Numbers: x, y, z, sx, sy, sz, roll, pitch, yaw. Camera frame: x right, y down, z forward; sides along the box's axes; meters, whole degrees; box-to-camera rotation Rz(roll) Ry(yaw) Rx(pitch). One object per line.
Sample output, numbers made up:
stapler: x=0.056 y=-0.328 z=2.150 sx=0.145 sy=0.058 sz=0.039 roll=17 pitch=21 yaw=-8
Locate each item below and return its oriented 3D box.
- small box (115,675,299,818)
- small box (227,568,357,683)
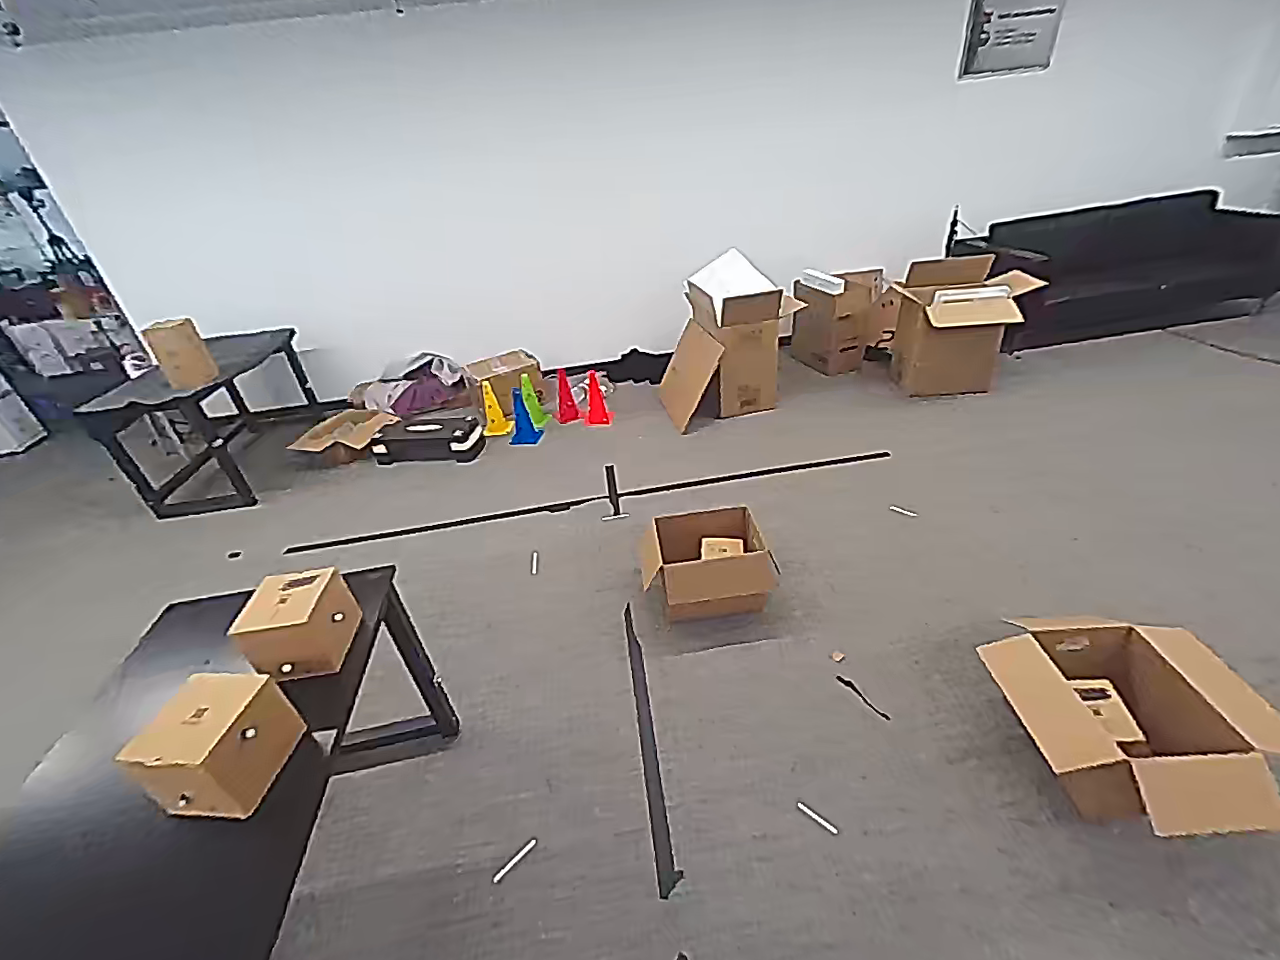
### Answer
small box: x=-0.769 y=0.483 z=0.990 sx=0.168 sy=0.176 sz=0.179 roll=-3 pitch=34 yaw=8
small box: x=-0.770 y=0.329 z=1.224 sx=0.168 sy=0.176 sz=0.179 roll=-9 pitch=34 yaw=-2
